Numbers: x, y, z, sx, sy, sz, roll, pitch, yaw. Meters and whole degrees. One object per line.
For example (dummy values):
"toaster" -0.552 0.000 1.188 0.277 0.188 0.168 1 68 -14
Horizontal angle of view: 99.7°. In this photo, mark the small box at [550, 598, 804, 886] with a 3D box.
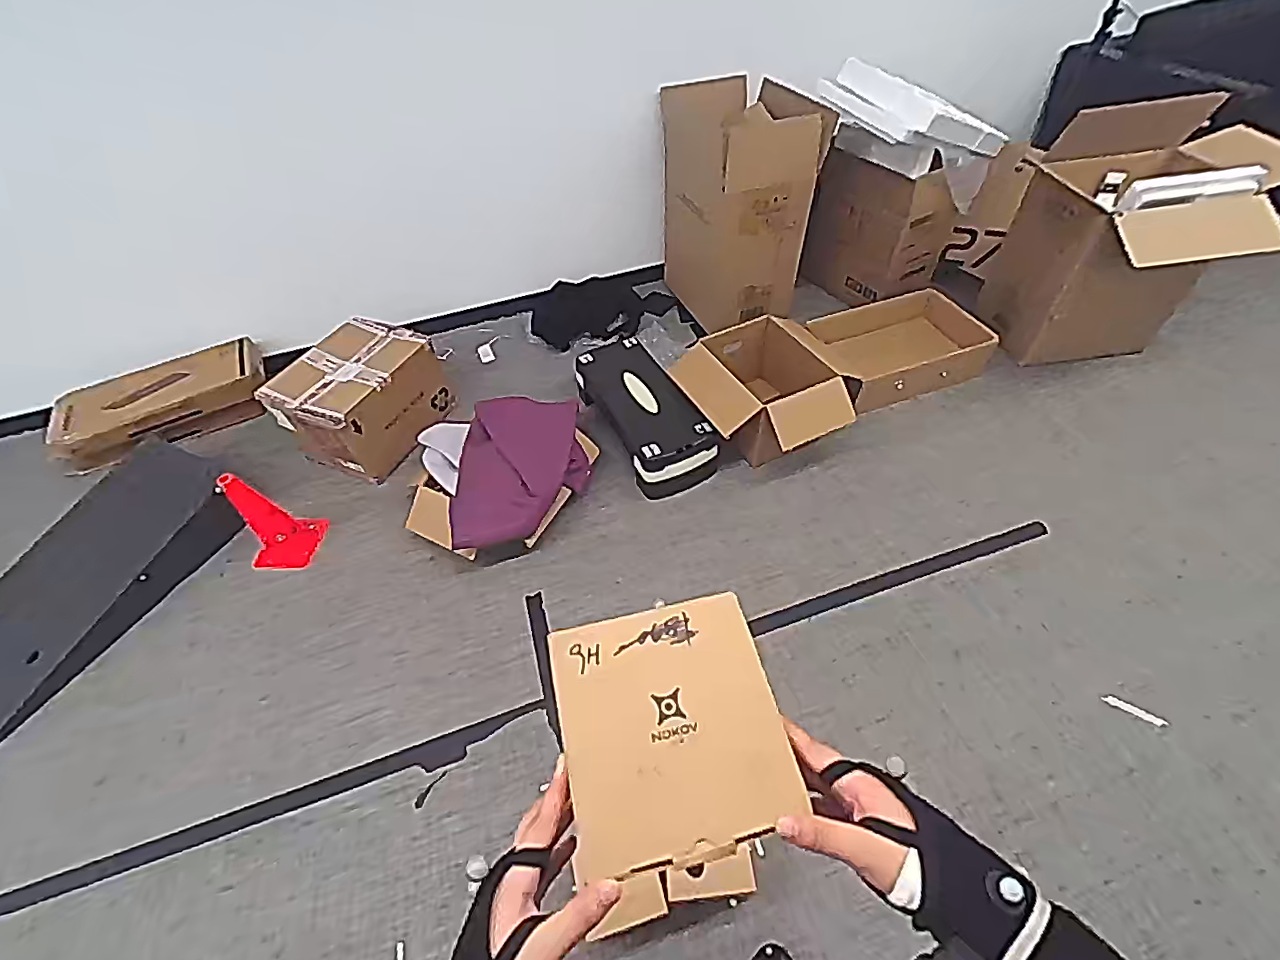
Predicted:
"small box" 0.021 0.230 0.486 0.168 0.176 0.179 -11 58 -8
